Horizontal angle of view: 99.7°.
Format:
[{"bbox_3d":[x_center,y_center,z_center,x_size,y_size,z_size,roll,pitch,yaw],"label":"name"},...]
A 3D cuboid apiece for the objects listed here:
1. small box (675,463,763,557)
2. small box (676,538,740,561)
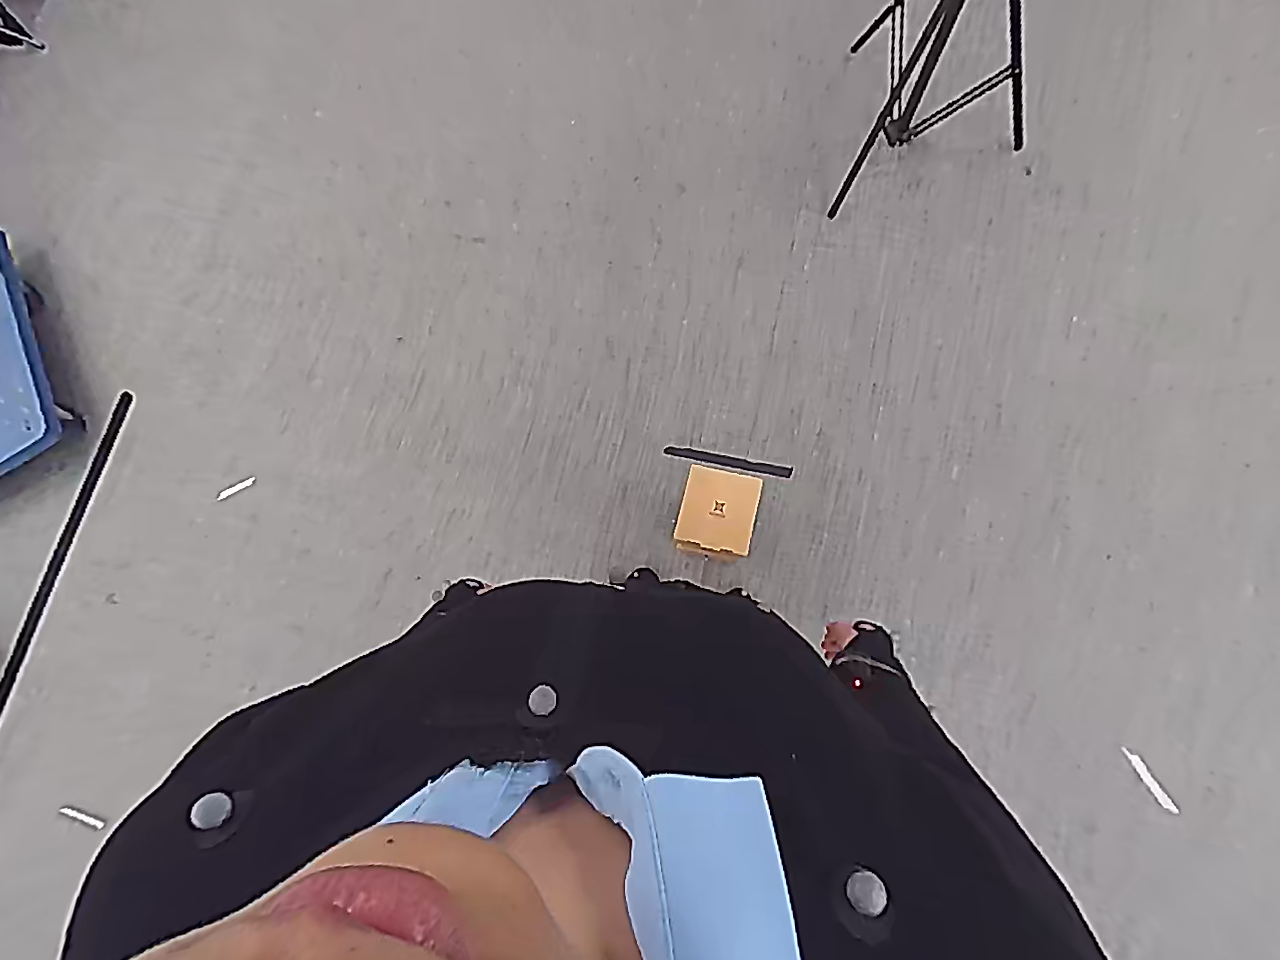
[{"bbox_3d":[0.182,0.075,1.265,0.168,0.176,0.179,13,82,9],"label":"small box"},{"bbox_3d":[0.194,0.113,1.424,0.168,0.176,0.179,11,80,8],"label":"small box"}]
